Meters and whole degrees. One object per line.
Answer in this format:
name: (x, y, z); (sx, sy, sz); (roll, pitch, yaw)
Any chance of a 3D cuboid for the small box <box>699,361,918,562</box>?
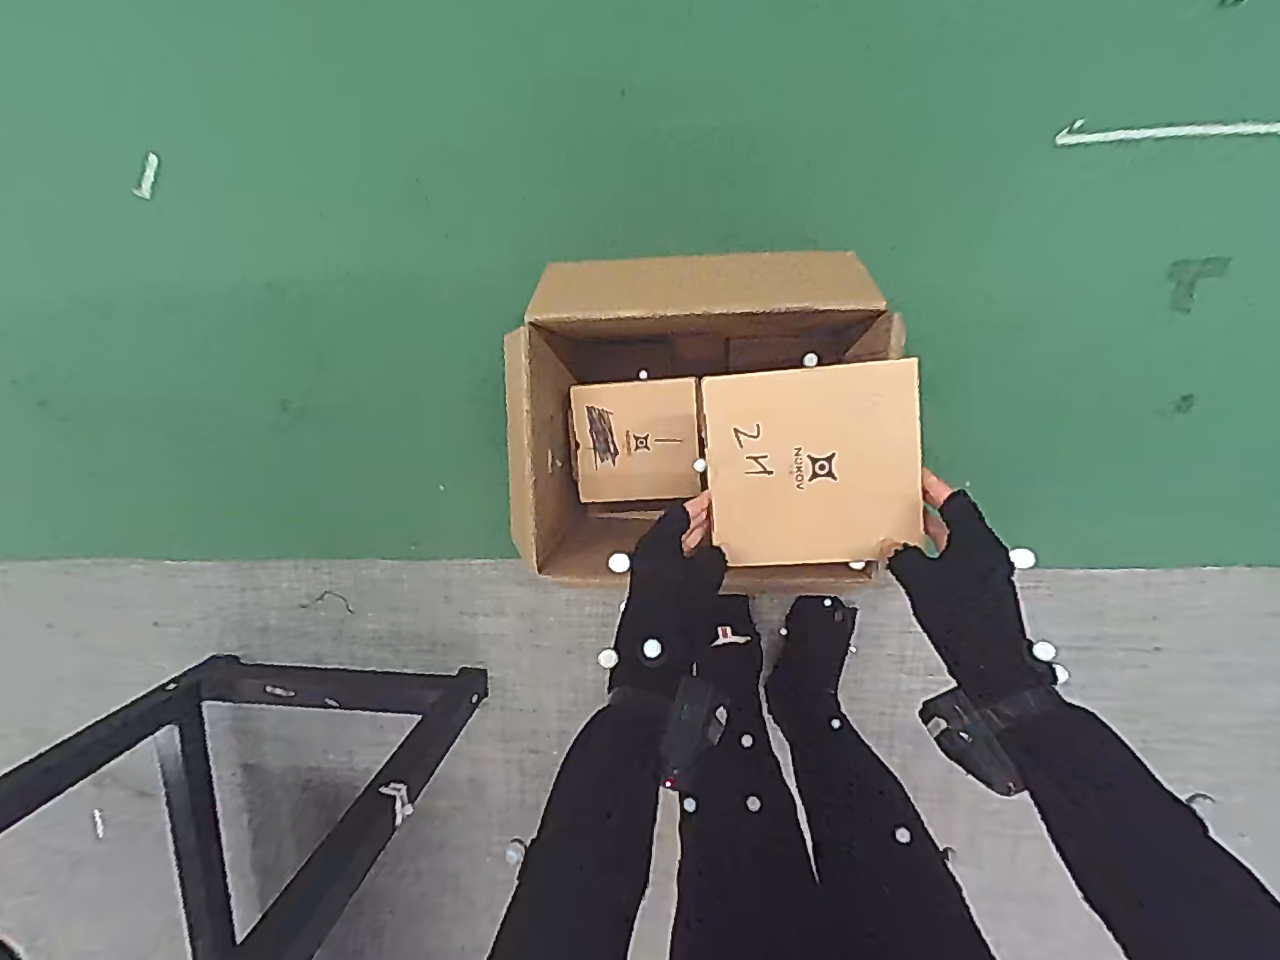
small box: (0.152, -0.021, 0.534); (0.179, 0.176, 0.168); (-4, 94, 9)
